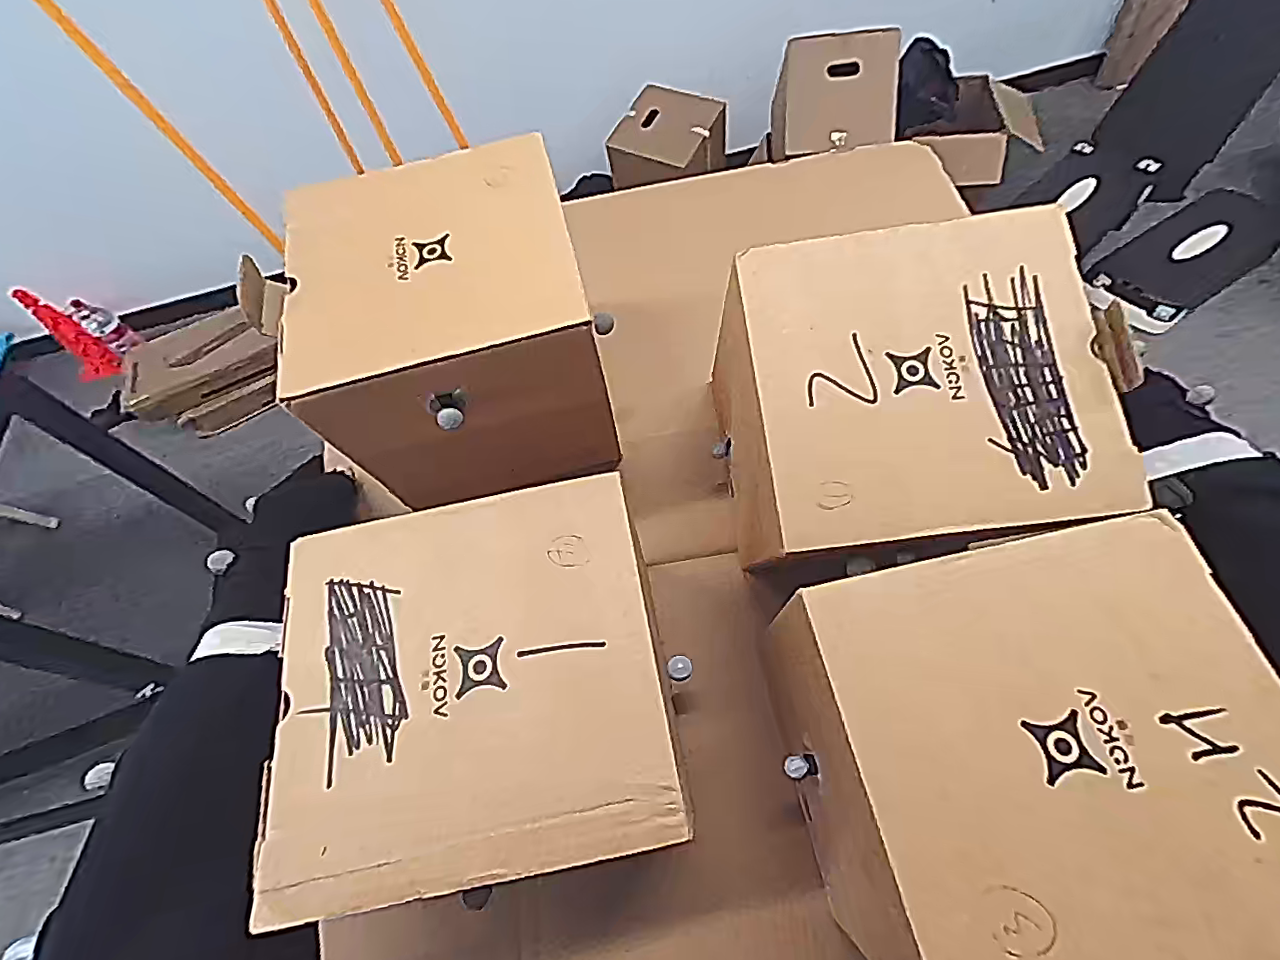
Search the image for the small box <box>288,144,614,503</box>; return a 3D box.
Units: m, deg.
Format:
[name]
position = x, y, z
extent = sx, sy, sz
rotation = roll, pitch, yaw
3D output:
[small box]
position = -0.121, -0.101, 0.404
extent = 0.179, 0.176, 0.168
rotation = -15, 65, 0
